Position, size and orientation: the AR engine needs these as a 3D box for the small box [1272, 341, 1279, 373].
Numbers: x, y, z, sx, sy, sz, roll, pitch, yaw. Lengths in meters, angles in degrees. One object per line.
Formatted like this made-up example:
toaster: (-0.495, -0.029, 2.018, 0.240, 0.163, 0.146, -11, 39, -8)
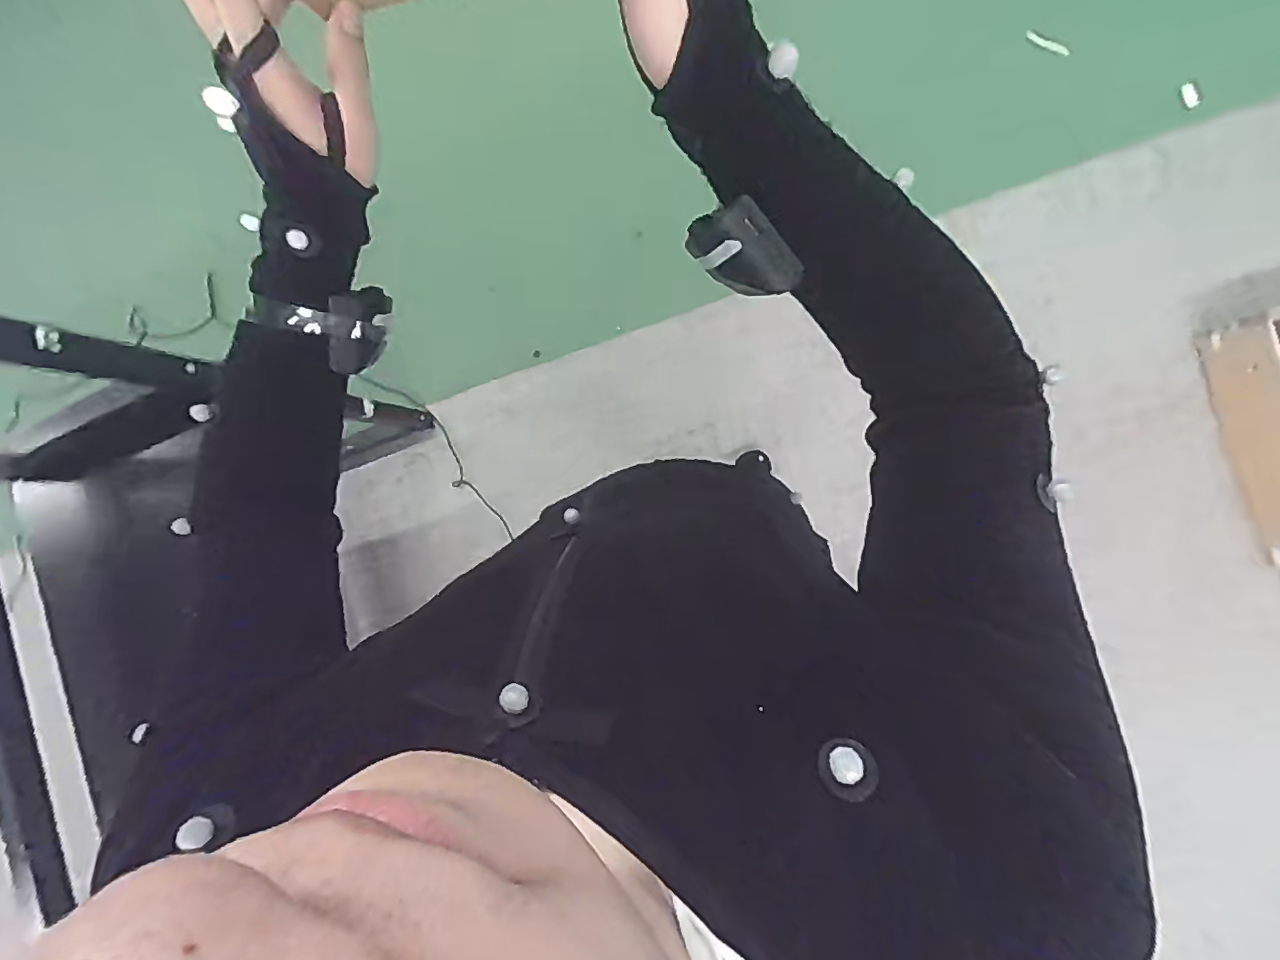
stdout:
small box: (1.598, -0.260, 1.203, 0.168, 0.176, 0.179, -15, 89, 9)
